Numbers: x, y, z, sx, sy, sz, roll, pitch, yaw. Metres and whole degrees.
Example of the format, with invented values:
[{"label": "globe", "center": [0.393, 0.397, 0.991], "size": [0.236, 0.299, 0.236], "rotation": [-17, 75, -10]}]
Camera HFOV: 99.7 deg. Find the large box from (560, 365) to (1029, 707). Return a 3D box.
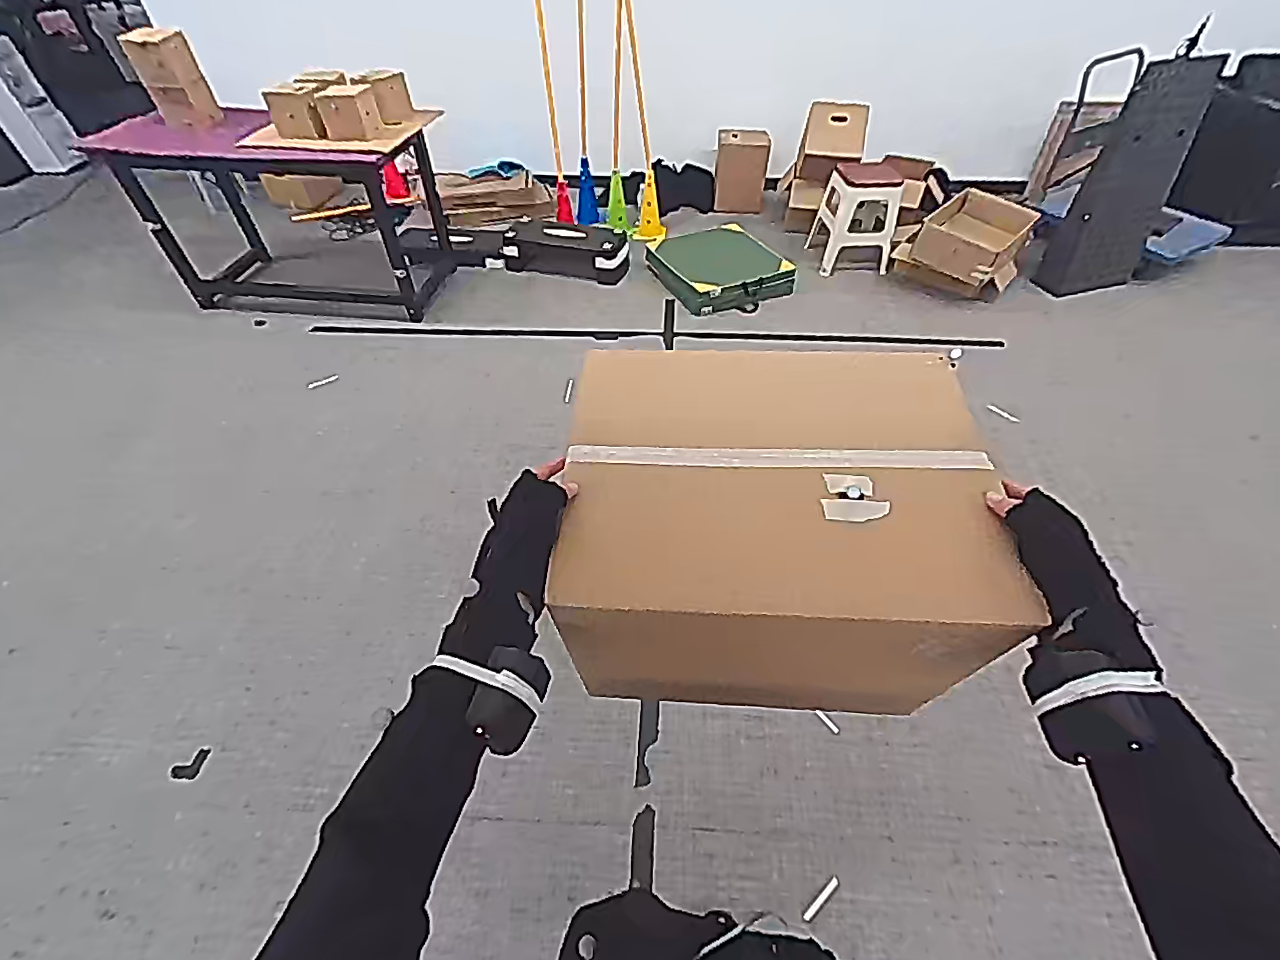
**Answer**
[{"label": "large box", "center": [0.138, 0.077, 0.663], "size": [0.408, 0.320, 0.320], "rotation": [2, 55, 4]}]
